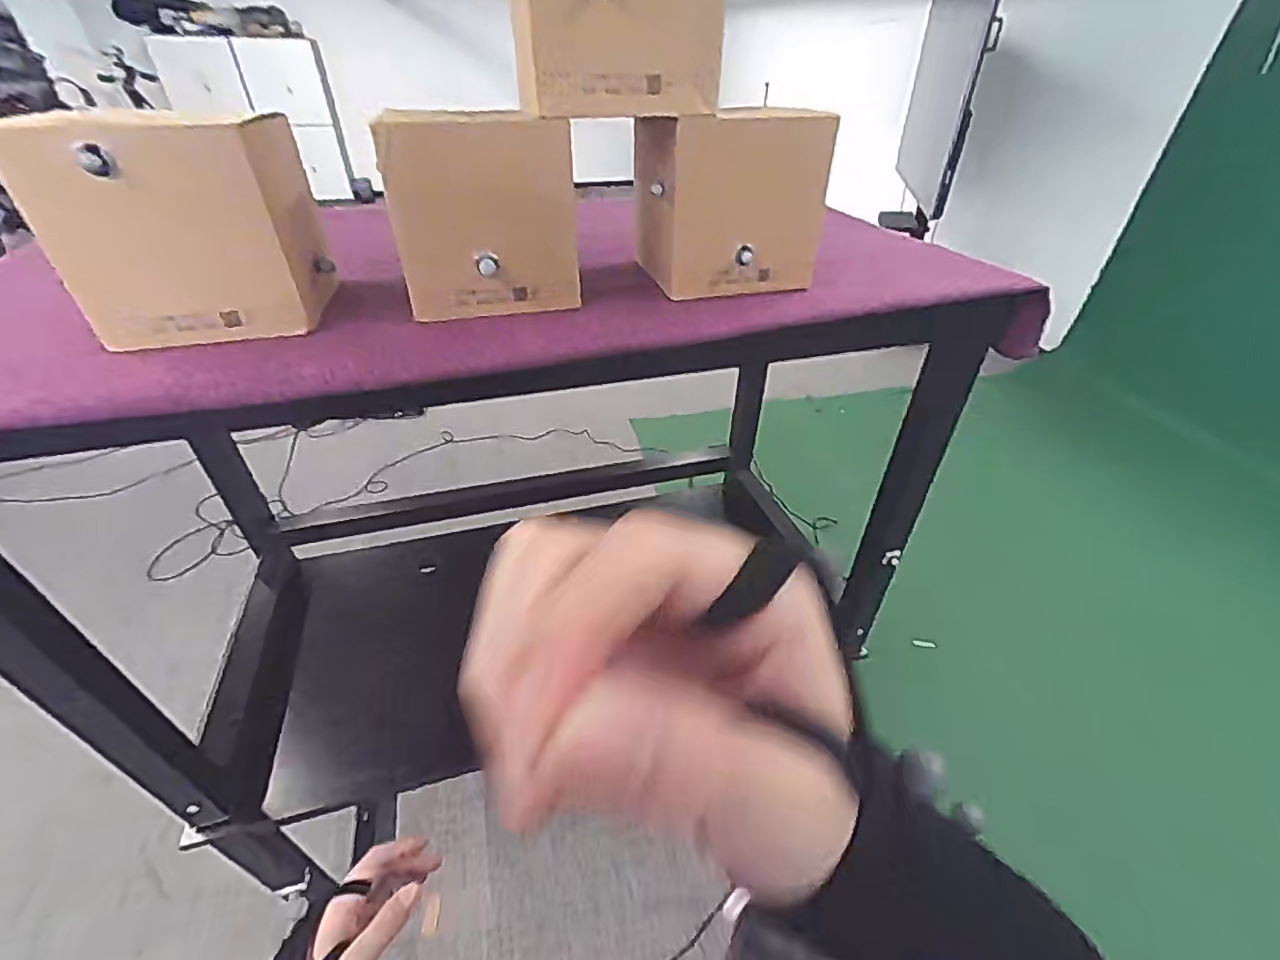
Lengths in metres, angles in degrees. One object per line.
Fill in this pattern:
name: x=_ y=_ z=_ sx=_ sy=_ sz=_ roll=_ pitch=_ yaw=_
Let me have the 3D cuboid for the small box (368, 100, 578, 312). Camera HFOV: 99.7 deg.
small box: x=-0.161 y=-0.286 z=0.560 sx=0.168 sy=0.176 sz=0.179 roll=-9 pitch=39 yaw=-13

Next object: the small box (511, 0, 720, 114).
small box: x=-0.028 y=-0.436 z=0.491 sx=0.168 sy=0.176 sz=0.179 roll=-9 pitch=37 yaw=-12

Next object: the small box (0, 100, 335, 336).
small box: x=-0.404 y=-0.245 z=0.500 sx=0.168 sy=0.176 sz=0.179 roll=-10 pitch=37 yaw=-13
